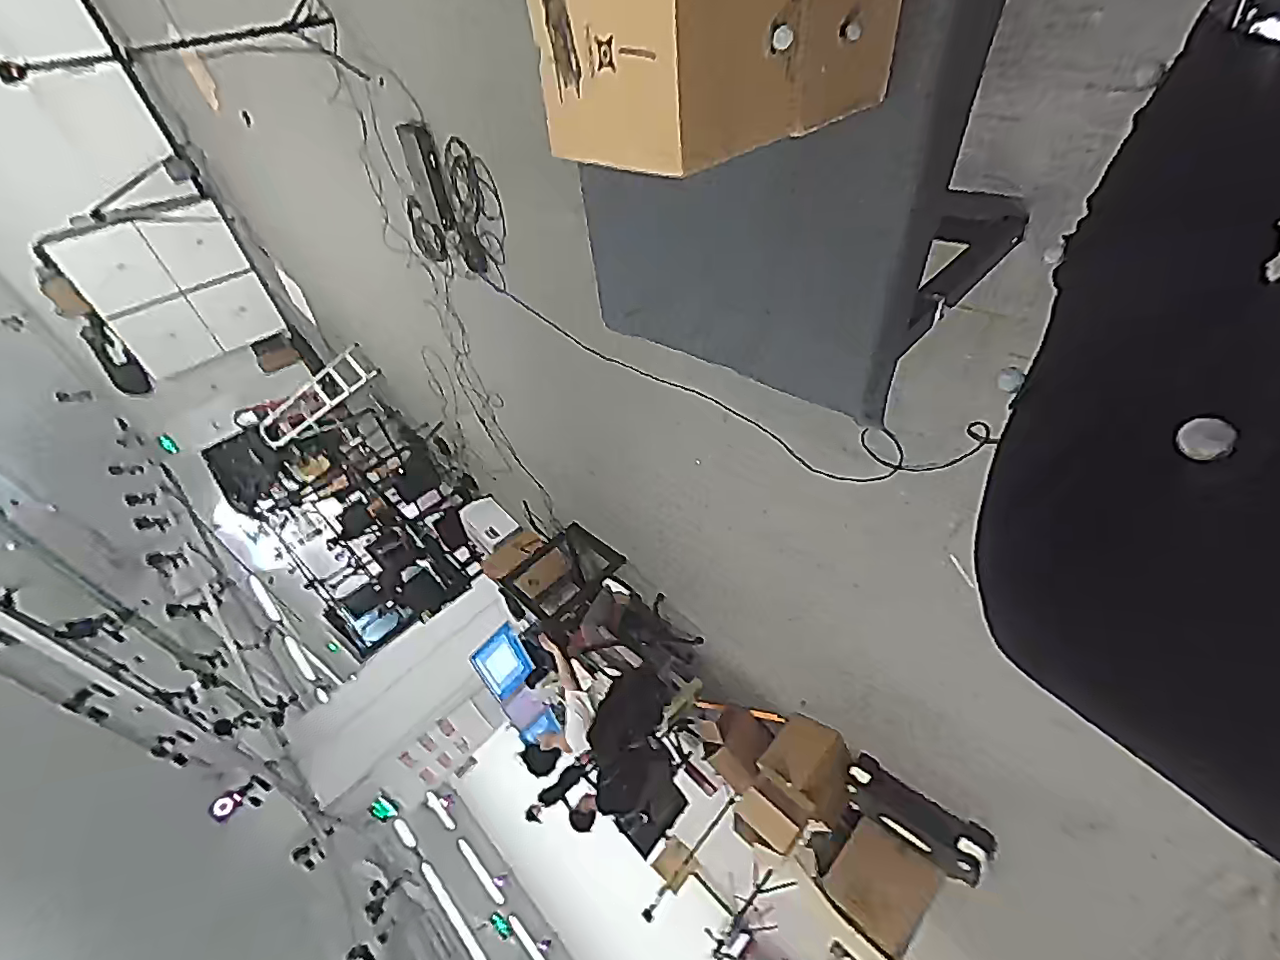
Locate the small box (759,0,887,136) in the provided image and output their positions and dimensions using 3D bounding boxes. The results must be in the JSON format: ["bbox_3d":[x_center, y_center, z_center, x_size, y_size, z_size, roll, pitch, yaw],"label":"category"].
[{"bbox_3d":[0.137,-0.476,0.546,0.168,0.176,0.179,32,146,34],"label":"small box"}]

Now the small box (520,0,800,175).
[{"bbox_3d":[0.018,-0.389,0.472,0.179,0.176,0.168,32,146,34],"label":"small box"}]
